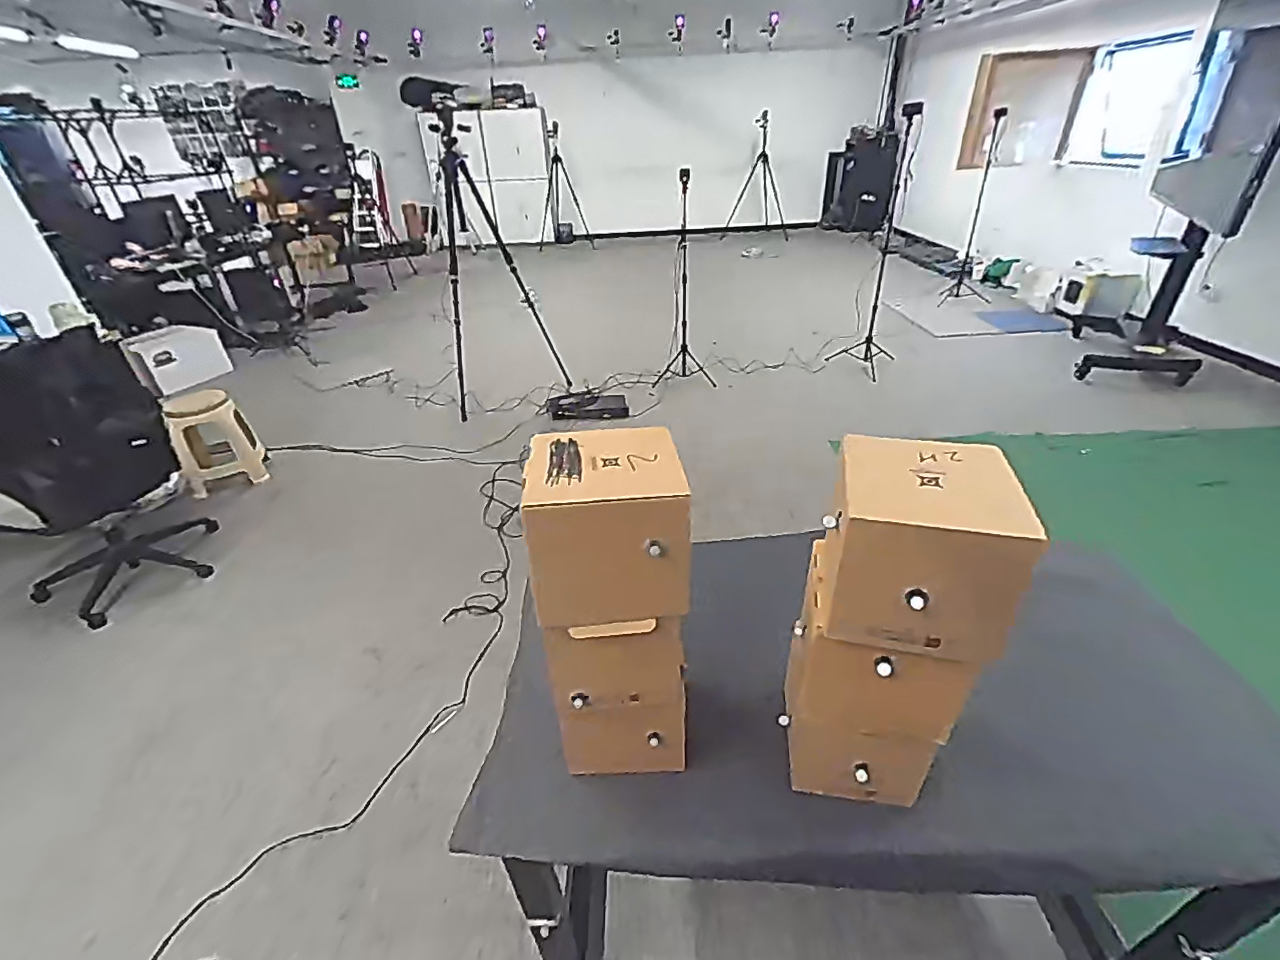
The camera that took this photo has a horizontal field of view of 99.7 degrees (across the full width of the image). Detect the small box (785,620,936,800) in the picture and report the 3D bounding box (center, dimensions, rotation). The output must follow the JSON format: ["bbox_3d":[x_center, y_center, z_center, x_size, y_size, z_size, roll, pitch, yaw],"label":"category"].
[{"bbox_3d":[0.304,0.332,0.787,0.168,0.176,0.179,2,33,10],"label":"small box"}]

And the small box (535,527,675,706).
[{"bbox_3d":[-0.044,0.188,0.742,0.168,0.176,0.179,-5,30,-3],"label":"small box"}]

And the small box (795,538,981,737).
[{"bbox_3d":[0.299,0.199,0.692,0.179,0.176,0.168,5,33,14],"label":"small box"}]

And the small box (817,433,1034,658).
[{"bbox_3d":[0.291,0.066,0.593,0.168,0.176,0.179,6,33,15],"label":"small box"}]

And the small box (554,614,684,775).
[{"bbox_3d":[-0.026,0.326,0.830,0.179,0.176,0.168,-4,31,1],"label":"small box"}]
